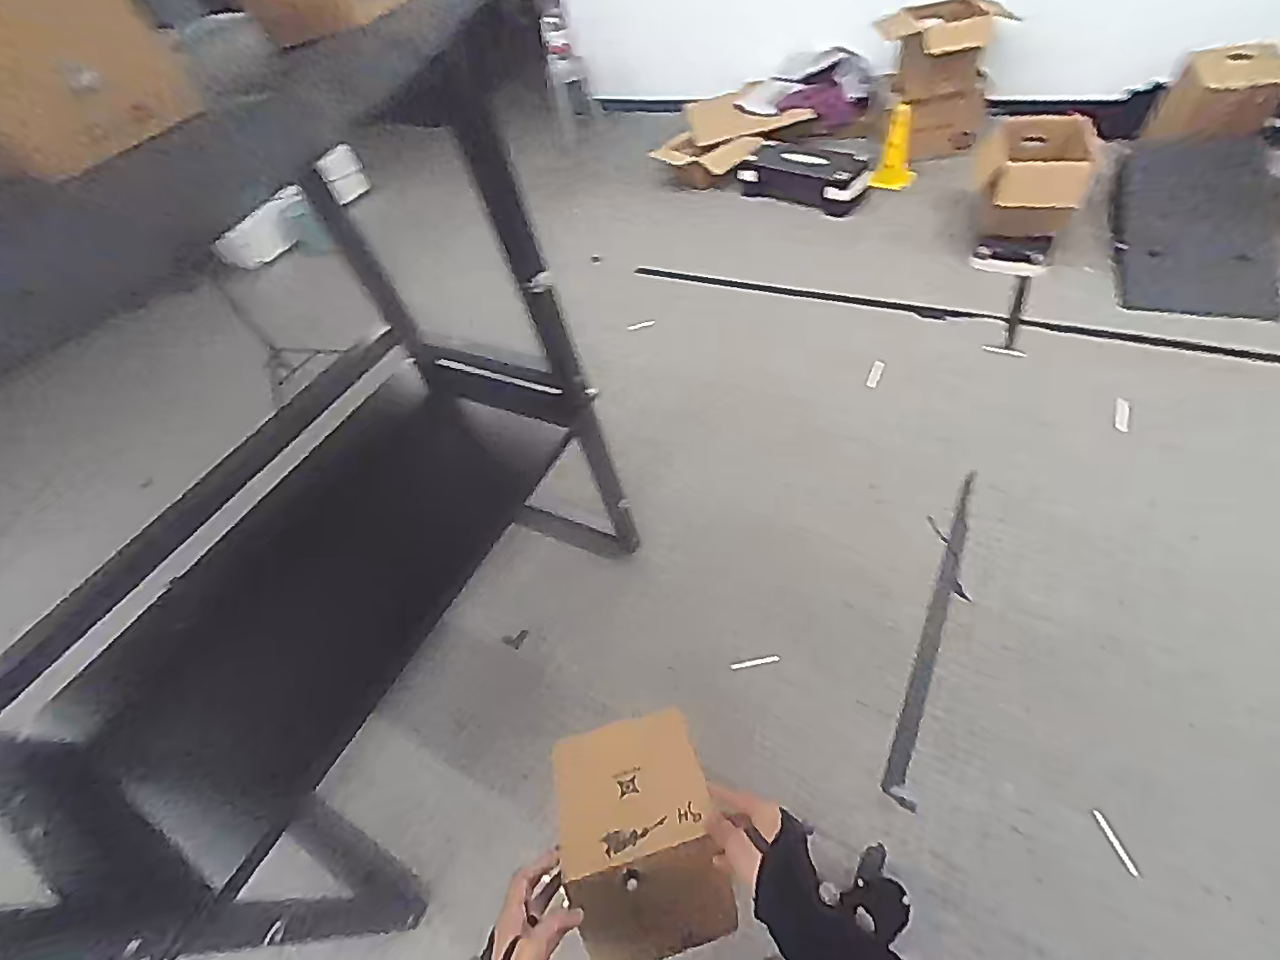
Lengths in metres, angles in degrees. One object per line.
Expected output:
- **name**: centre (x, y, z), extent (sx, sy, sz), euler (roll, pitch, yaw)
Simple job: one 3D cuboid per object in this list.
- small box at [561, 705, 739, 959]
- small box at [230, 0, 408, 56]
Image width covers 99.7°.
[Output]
- **small box**: centre (0.007, 0.408, 0.634), extent (0.168, 0.176, 0.179), euler (-13, 23, -6)
- **small box**: centre (-0.402, -0.648, 0.646), extent (0.179, 0.176, 0.168), euler (10, 56, 26)
